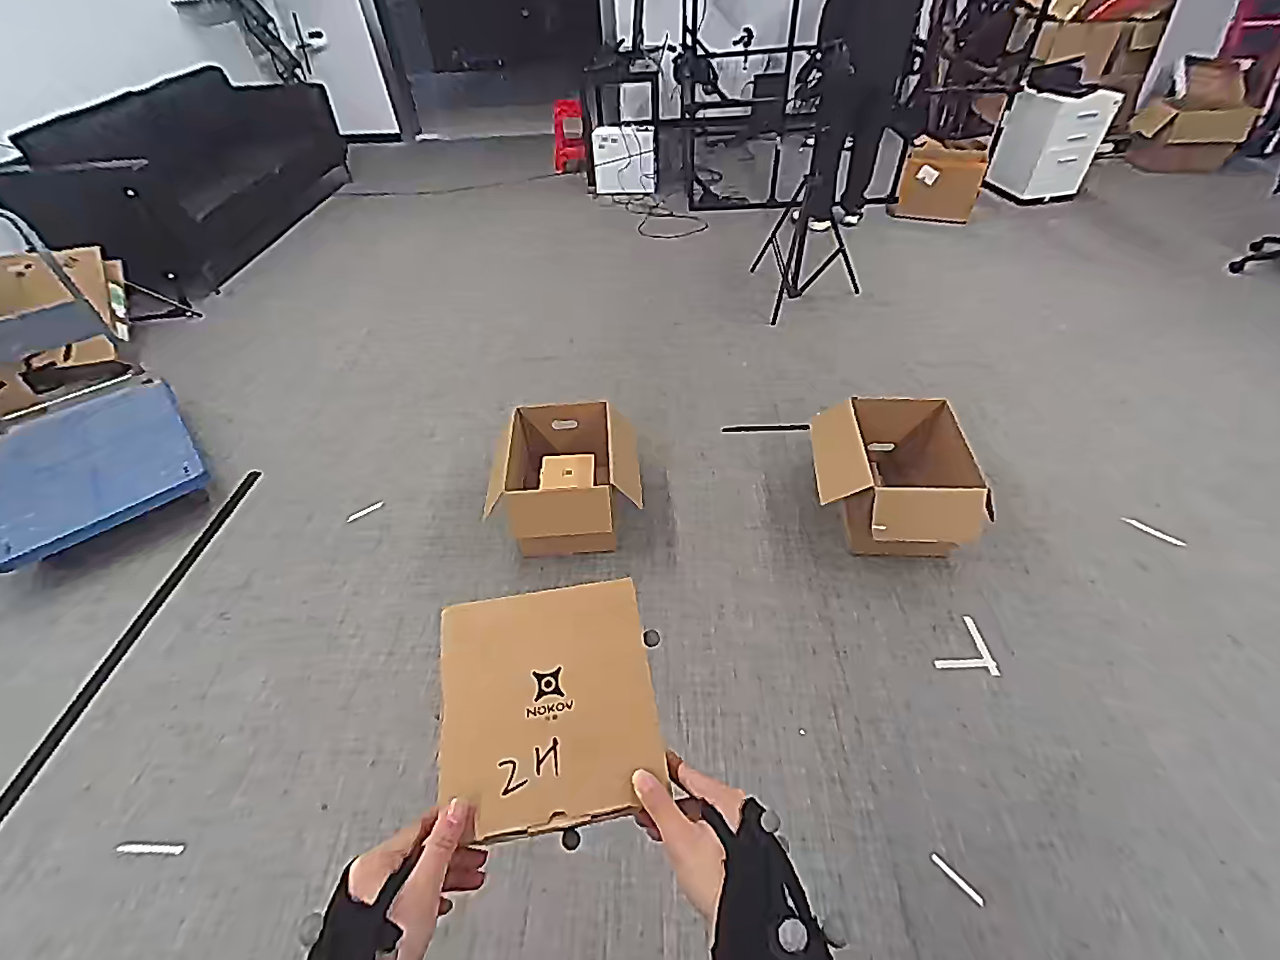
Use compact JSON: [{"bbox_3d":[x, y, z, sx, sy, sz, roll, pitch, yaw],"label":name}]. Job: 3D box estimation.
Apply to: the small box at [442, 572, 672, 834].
[{"bbox_3d":[-0.073,0.206,0.494,0.168,0.176,0.179,-8,58,-7],"label":"small box"}]
